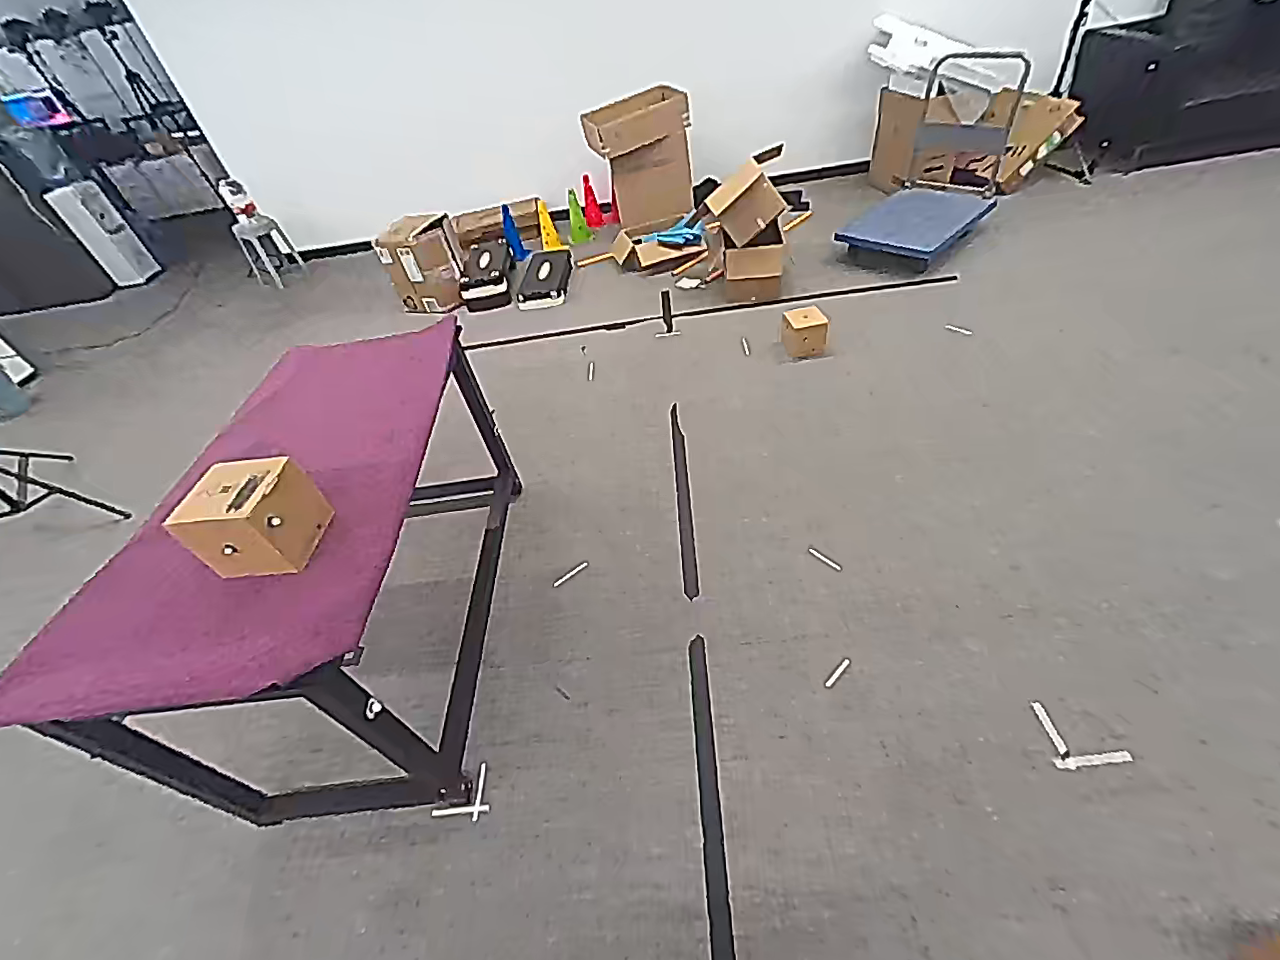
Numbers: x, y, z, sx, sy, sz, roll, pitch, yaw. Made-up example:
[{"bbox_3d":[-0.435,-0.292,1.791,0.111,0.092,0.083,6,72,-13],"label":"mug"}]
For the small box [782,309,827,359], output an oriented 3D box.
[{"bbox_3d":[0.799,-0.708,2.640,0.168,0.176,0.179,-12,43,0],"label":"small box"}]
